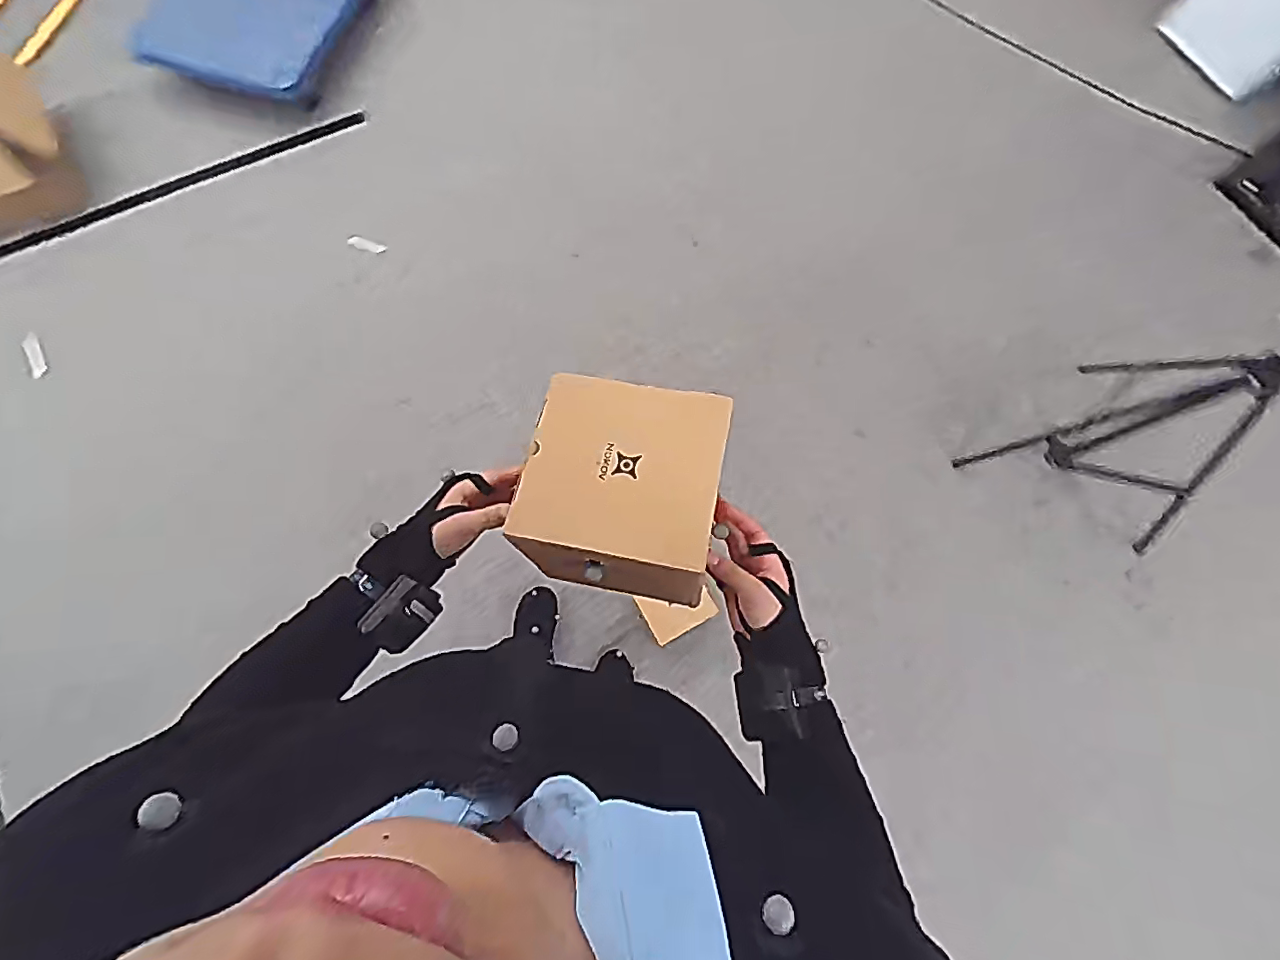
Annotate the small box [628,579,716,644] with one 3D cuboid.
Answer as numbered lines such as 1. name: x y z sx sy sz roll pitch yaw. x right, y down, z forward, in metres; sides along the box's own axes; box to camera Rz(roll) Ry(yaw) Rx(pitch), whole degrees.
1. small box: 0.076 0.322 1.434 0.179 0.176 0.168 -27 77 -11

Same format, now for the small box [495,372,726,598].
1. small box: -0.015 0.015 0.541 0.179 0.176 0.168 8 69 10
